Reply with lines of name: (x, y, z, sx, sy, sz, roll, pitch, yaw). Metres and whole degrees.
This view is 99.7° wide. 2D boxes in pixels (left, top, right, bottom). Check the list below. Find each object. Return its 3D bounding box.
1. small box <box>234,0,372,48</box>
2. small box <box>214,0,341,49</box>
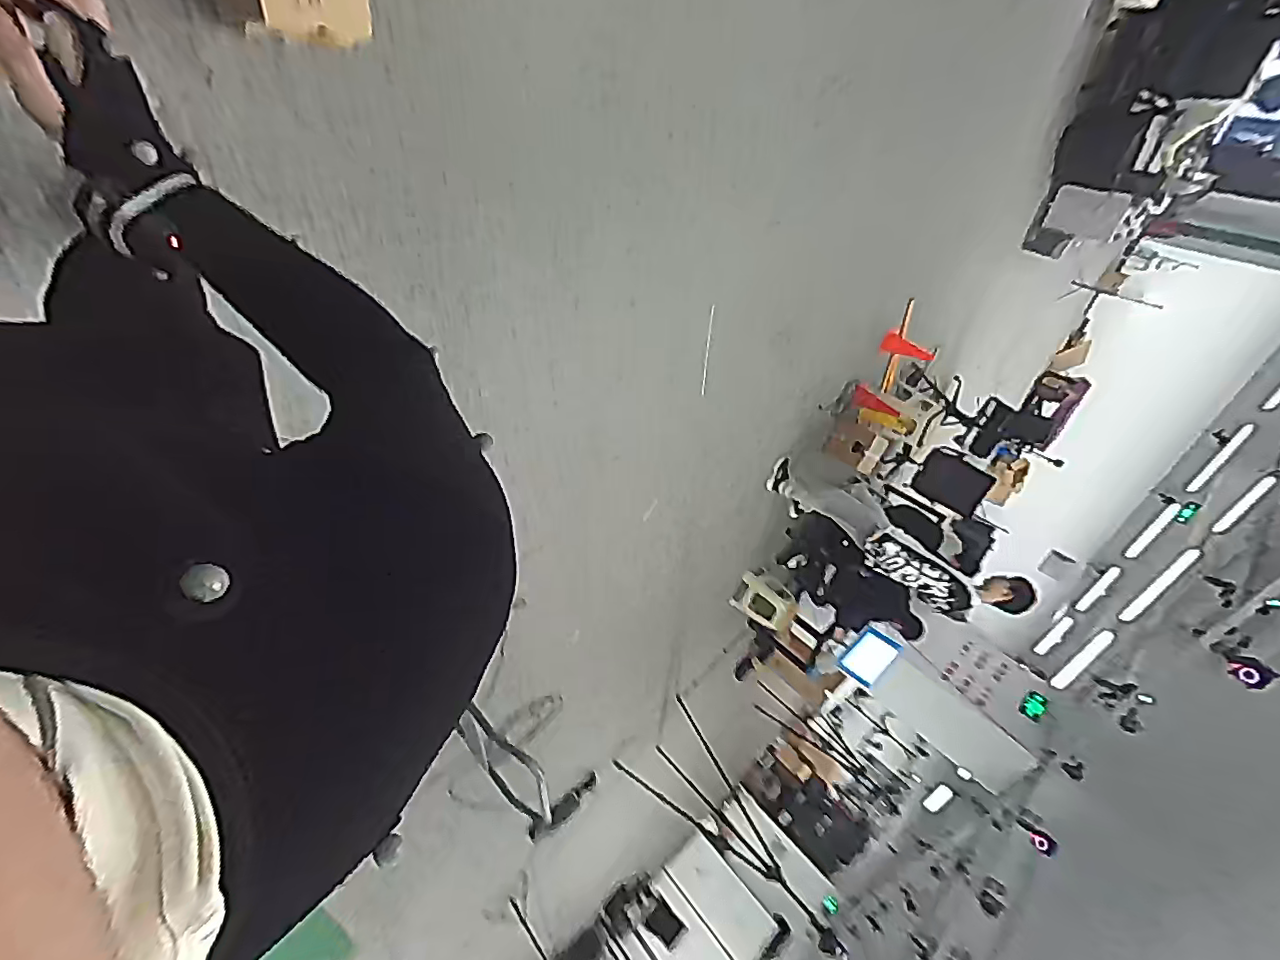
small box: (-0.568, -0.838, 0.890, 0.168, 0.176, 0.179, -22, 135, -37)
small box: (-0.680, -0.912, 0.987, 0.168, 0.176, 0.179, -27, 139, -34)
